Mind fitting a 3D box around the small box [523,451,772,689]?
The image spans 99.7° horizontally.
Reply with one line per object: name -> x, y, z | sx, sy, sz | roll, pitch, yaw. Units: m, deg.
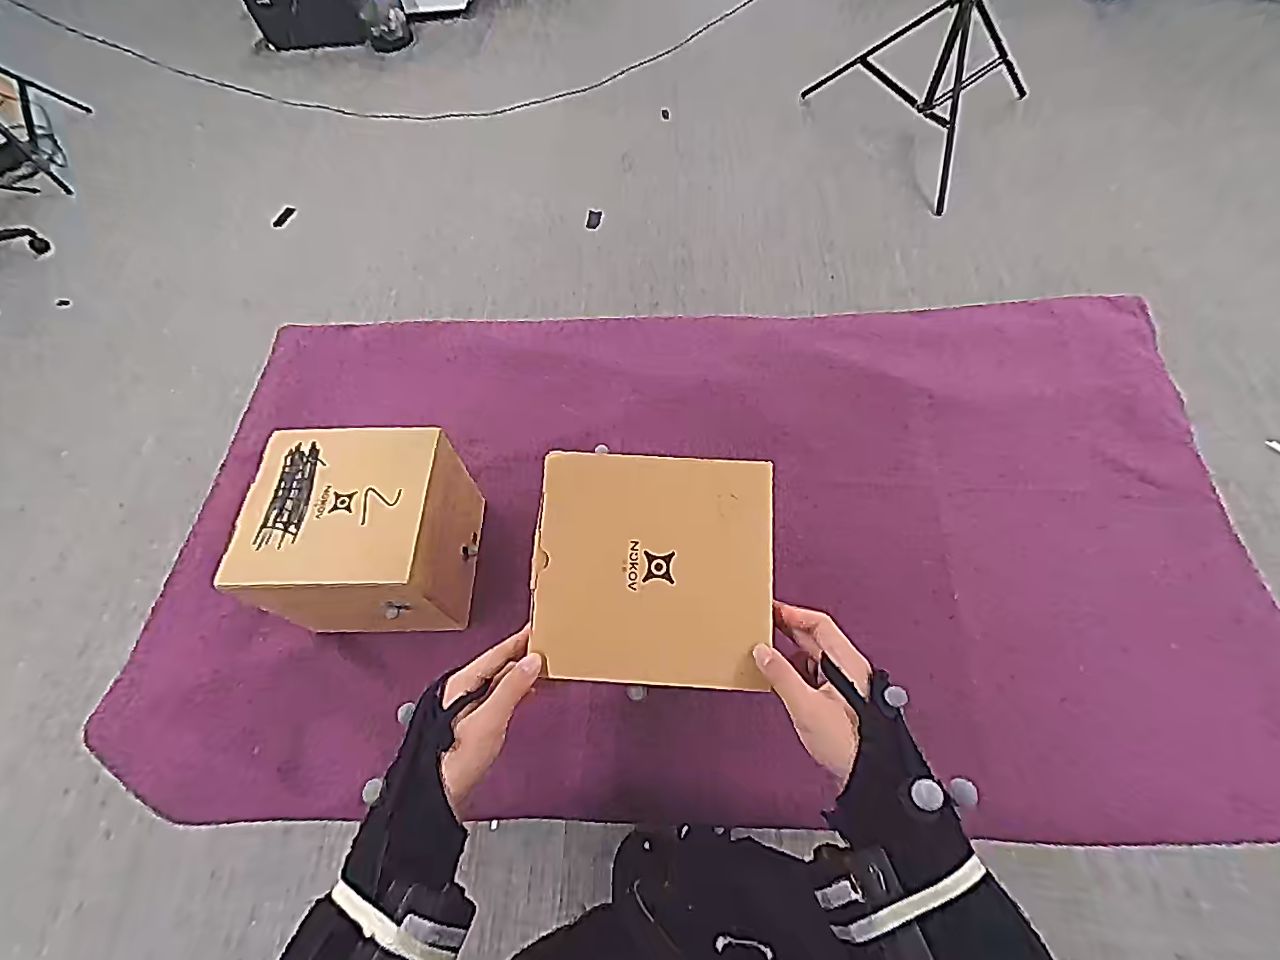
small box -> 0.012, 0.078, 0.472 | 0.179, 0.176, 0.168 | 2, 77, 4
